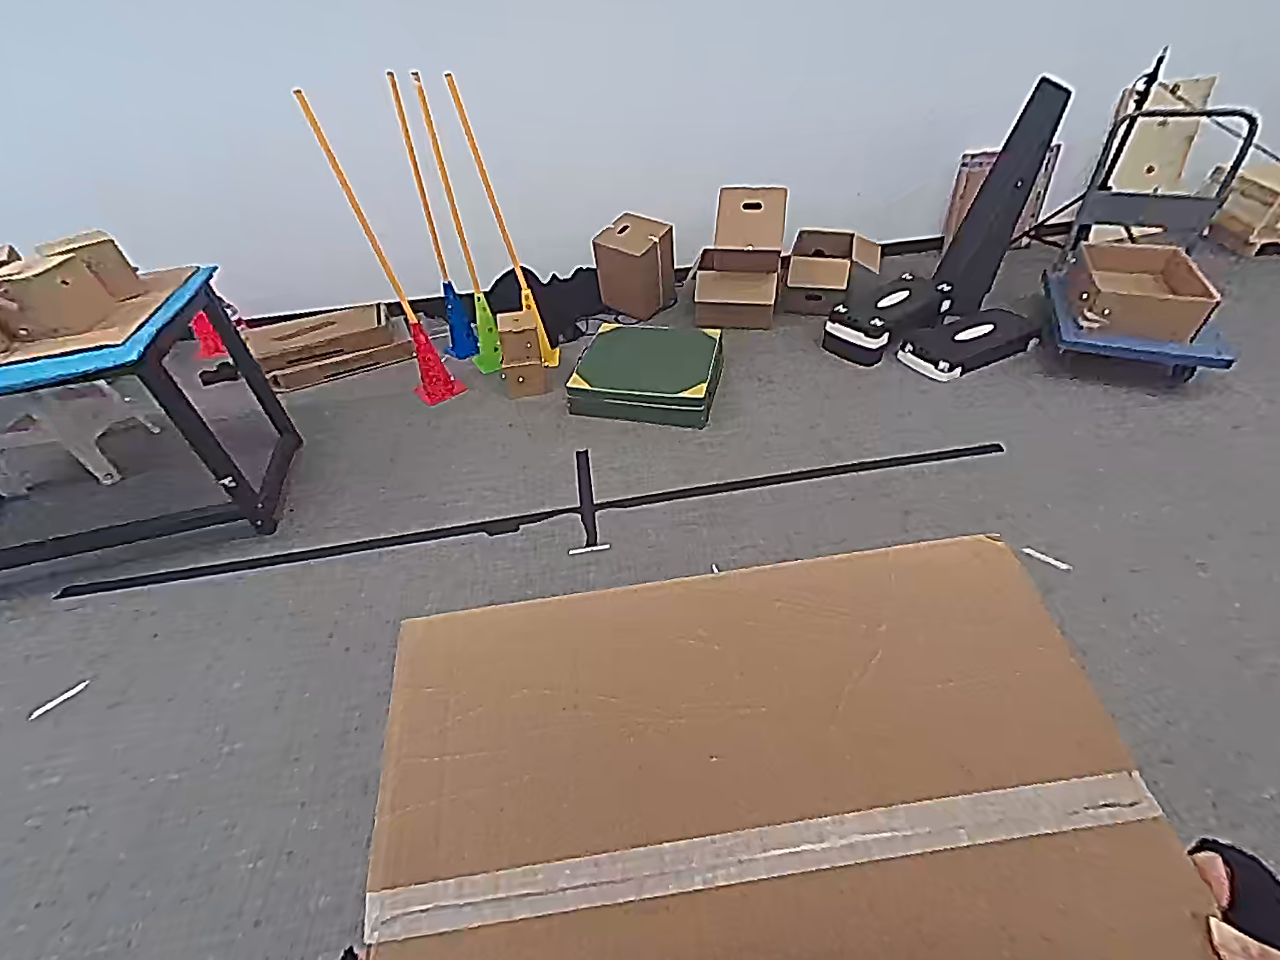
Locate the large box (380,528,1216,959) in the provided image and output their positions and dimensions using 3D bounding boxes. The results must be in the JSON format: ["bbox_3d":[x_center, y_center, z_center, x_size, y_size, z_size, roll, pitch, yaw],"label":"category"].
[{"bbox_3d":[0.070,0.272,0.415,0.408,0.320,0.320,-9,57,-1],"label":"large box"}]
